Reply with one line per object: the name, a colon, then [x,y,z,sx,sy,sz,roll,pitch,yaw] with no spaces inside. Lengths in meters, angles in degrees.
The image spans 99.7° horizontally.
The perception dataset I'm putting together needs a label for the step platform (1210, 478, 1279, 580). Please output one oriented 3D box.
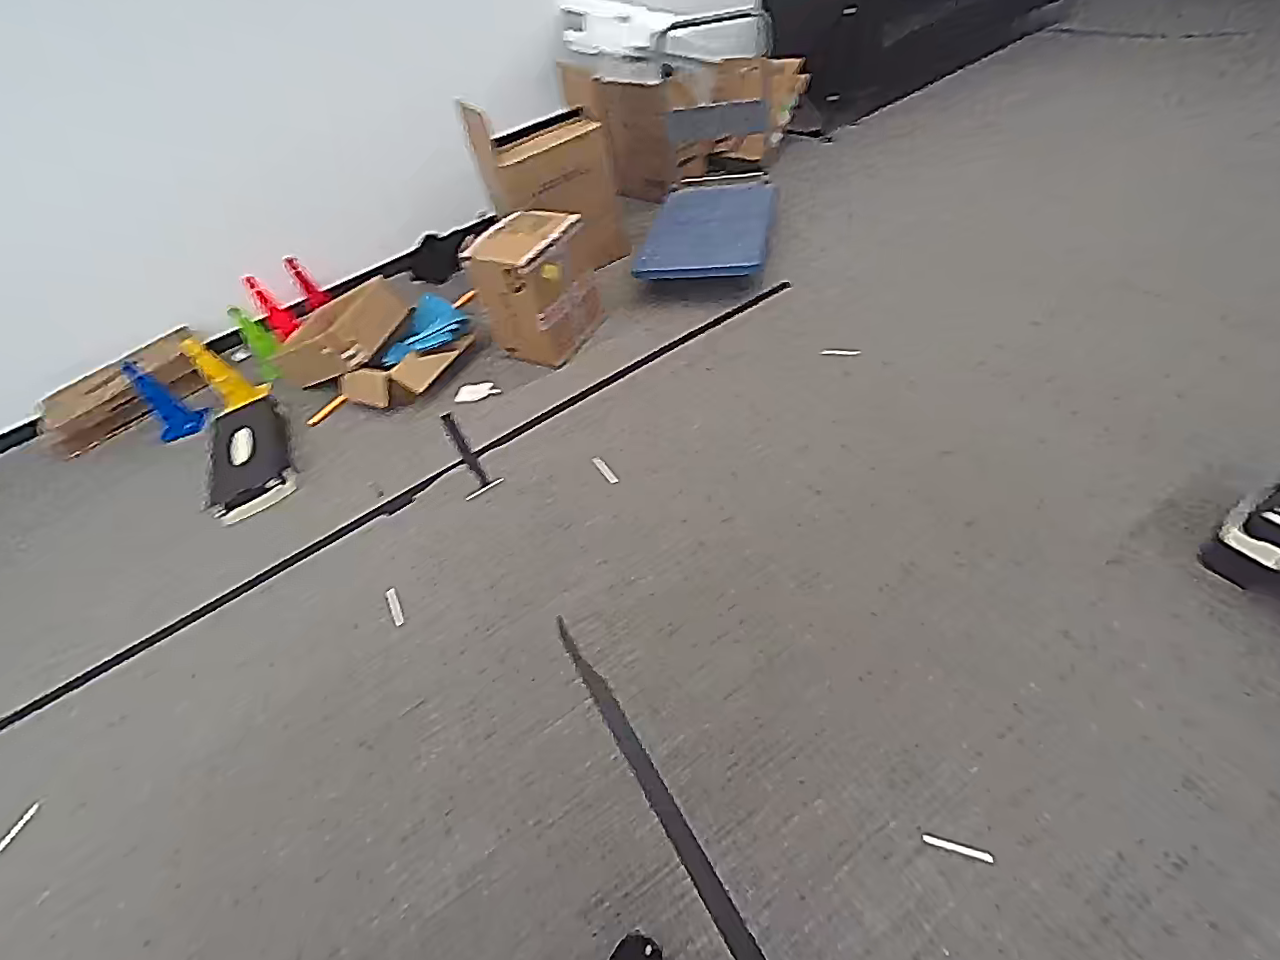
step platform: [1.649,0.241,1.081,0.286,0.204,0.684,-31,48,-14]
